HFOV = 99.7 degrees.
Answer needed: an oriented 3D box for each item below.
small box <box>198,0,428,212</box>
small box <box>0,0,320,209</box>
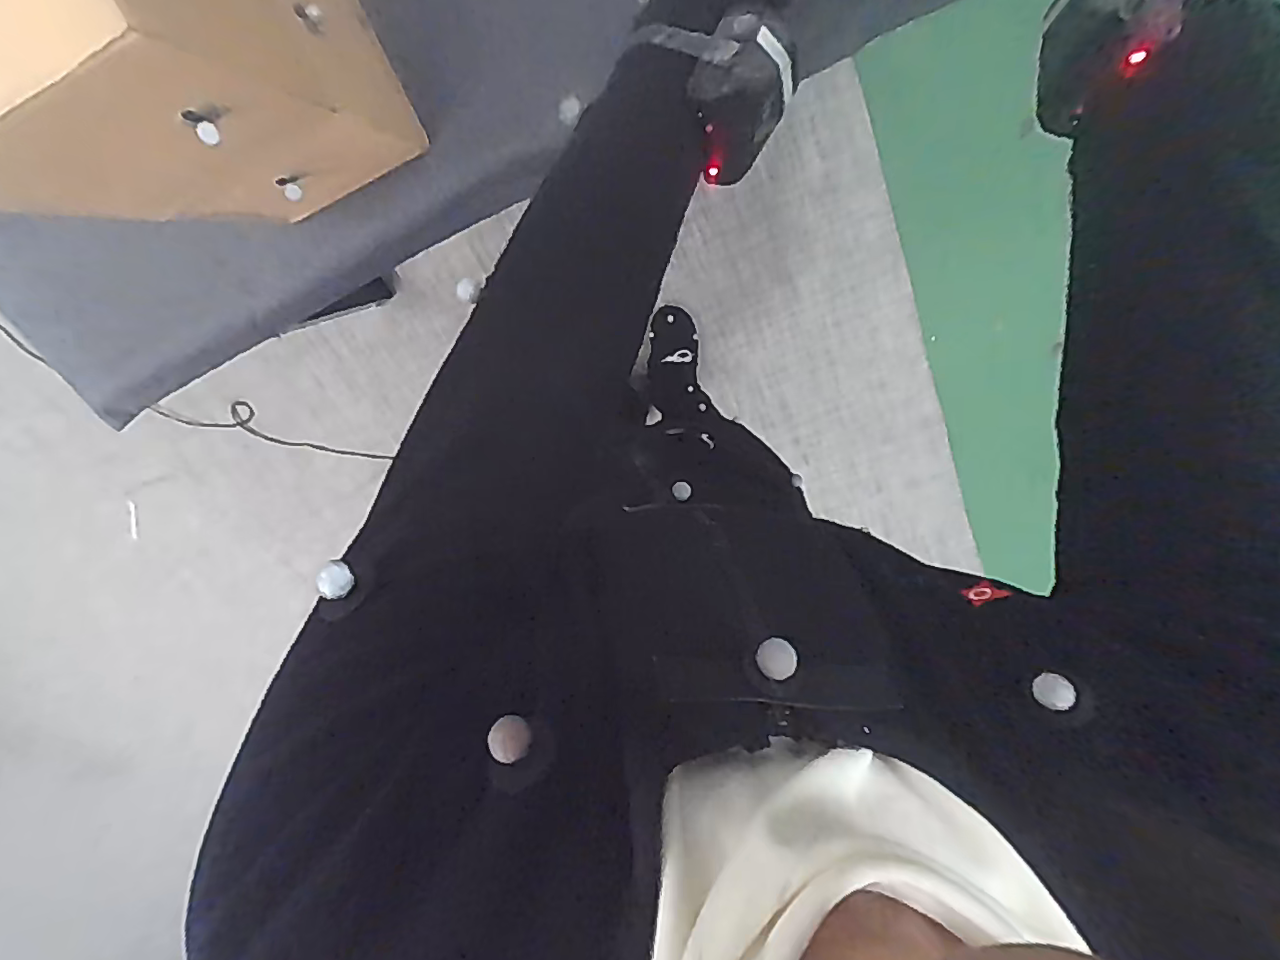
[{"bbox_3d":[-0.320,-0.346,0.458,0.179,0.176,0.168,-21,111,12],"label":"small box"},{"bbox_3d":[-0.327,-0.279,0.311,0.179,0.176,0.168,-21,109,13],"label":"small box"}]
